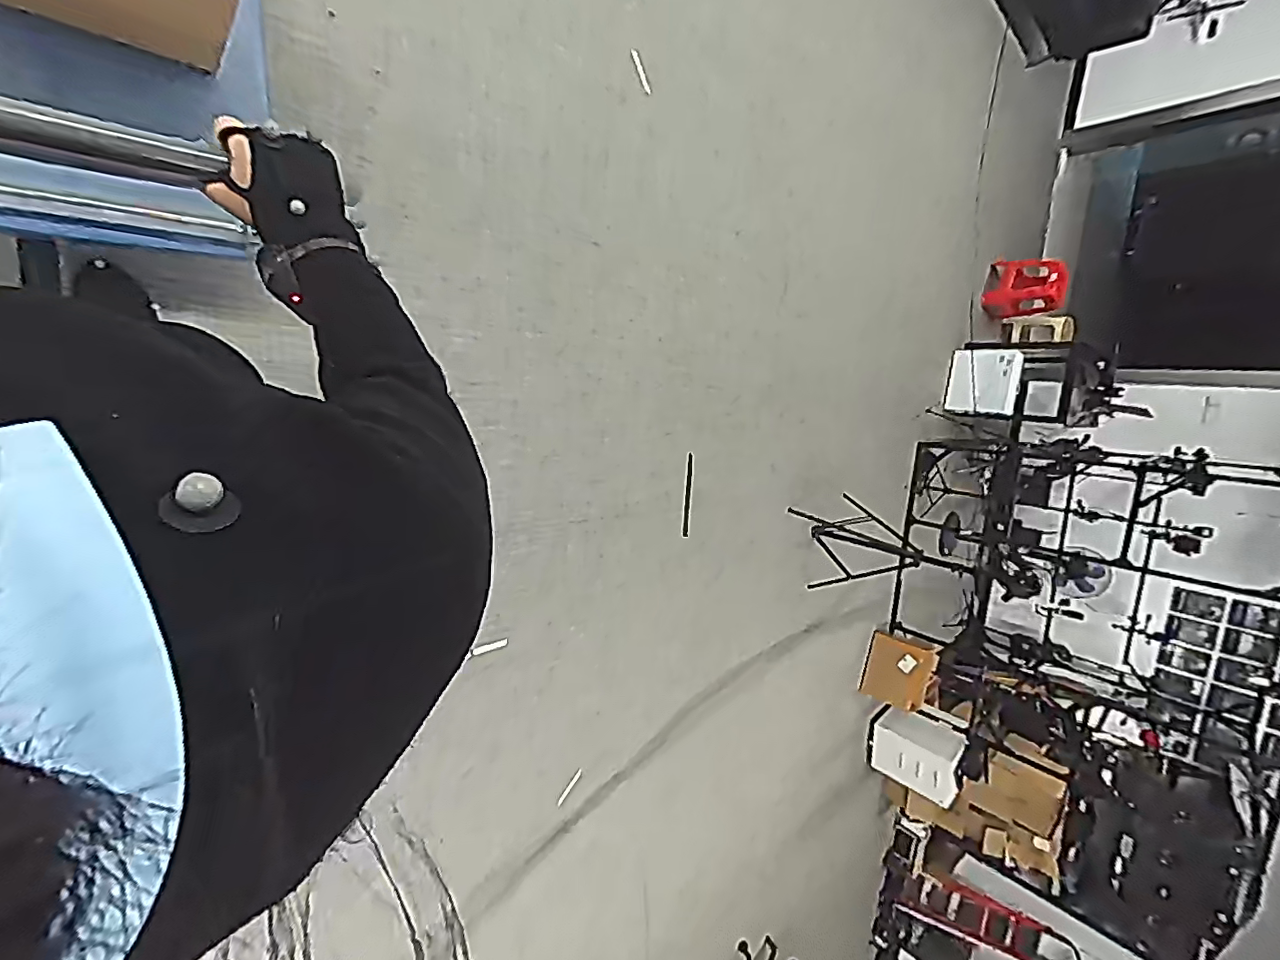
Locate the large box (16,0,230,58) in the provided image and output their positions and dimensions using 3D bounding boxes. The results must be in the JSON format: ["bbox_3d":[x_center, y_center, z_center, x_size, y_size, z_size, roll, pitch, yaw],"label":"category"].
[{"bbox_3d":[-0.816,-0.852,0.710,0.408,0.320,0.320,-8,105,-42],"label":"large box"}]
